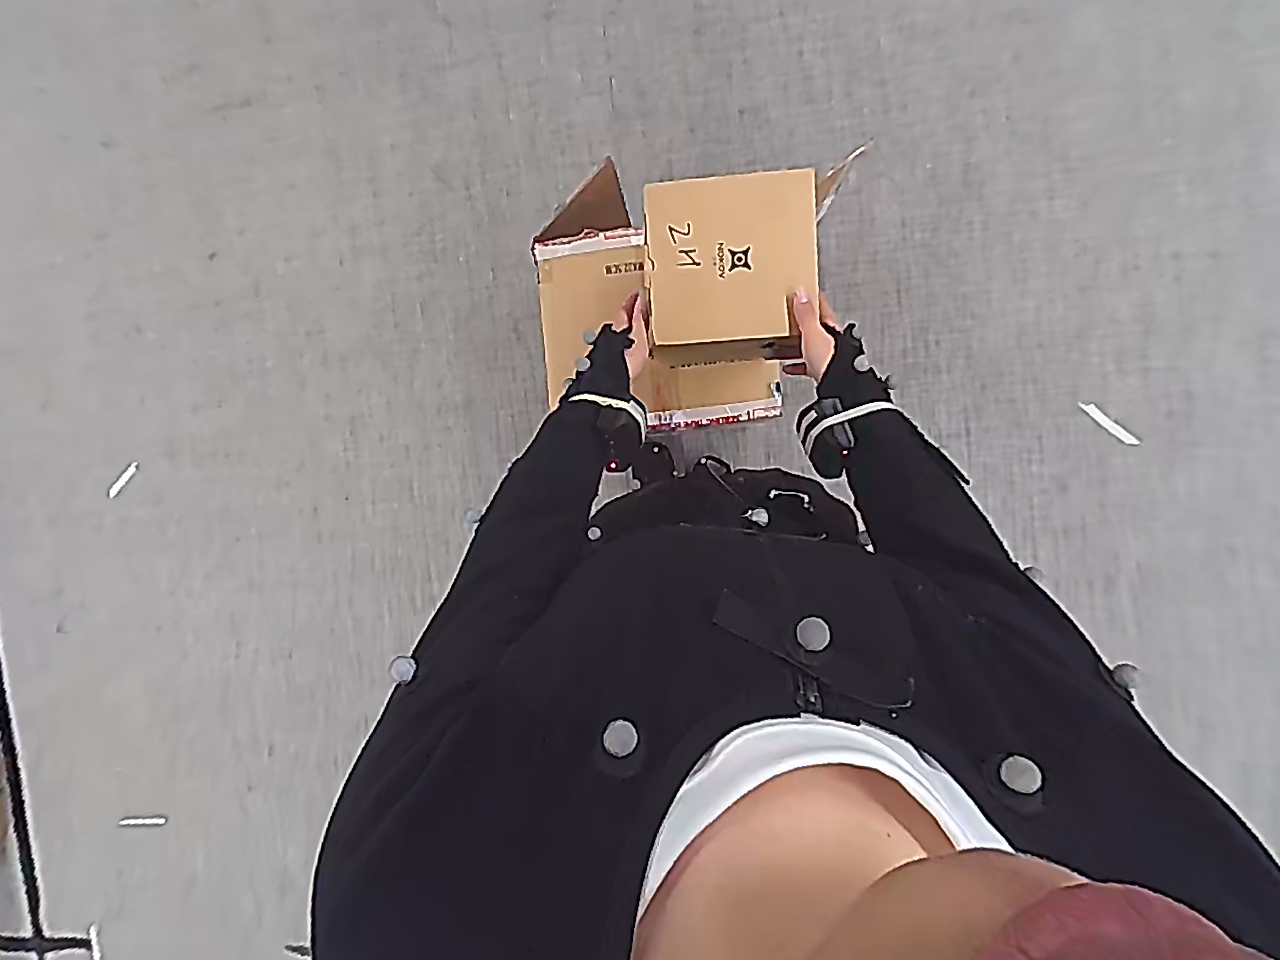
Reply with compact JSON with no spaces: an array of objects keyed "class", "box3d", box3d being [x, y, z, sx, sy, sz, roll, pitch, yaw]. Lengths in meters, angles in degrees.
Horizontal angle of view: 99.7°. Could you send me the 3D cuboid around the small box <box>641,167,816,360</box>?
[{"class":"small box","box3d":[0.095,-0.235,0.630,0.179,0.176,0.168,-2,94,5]}]
